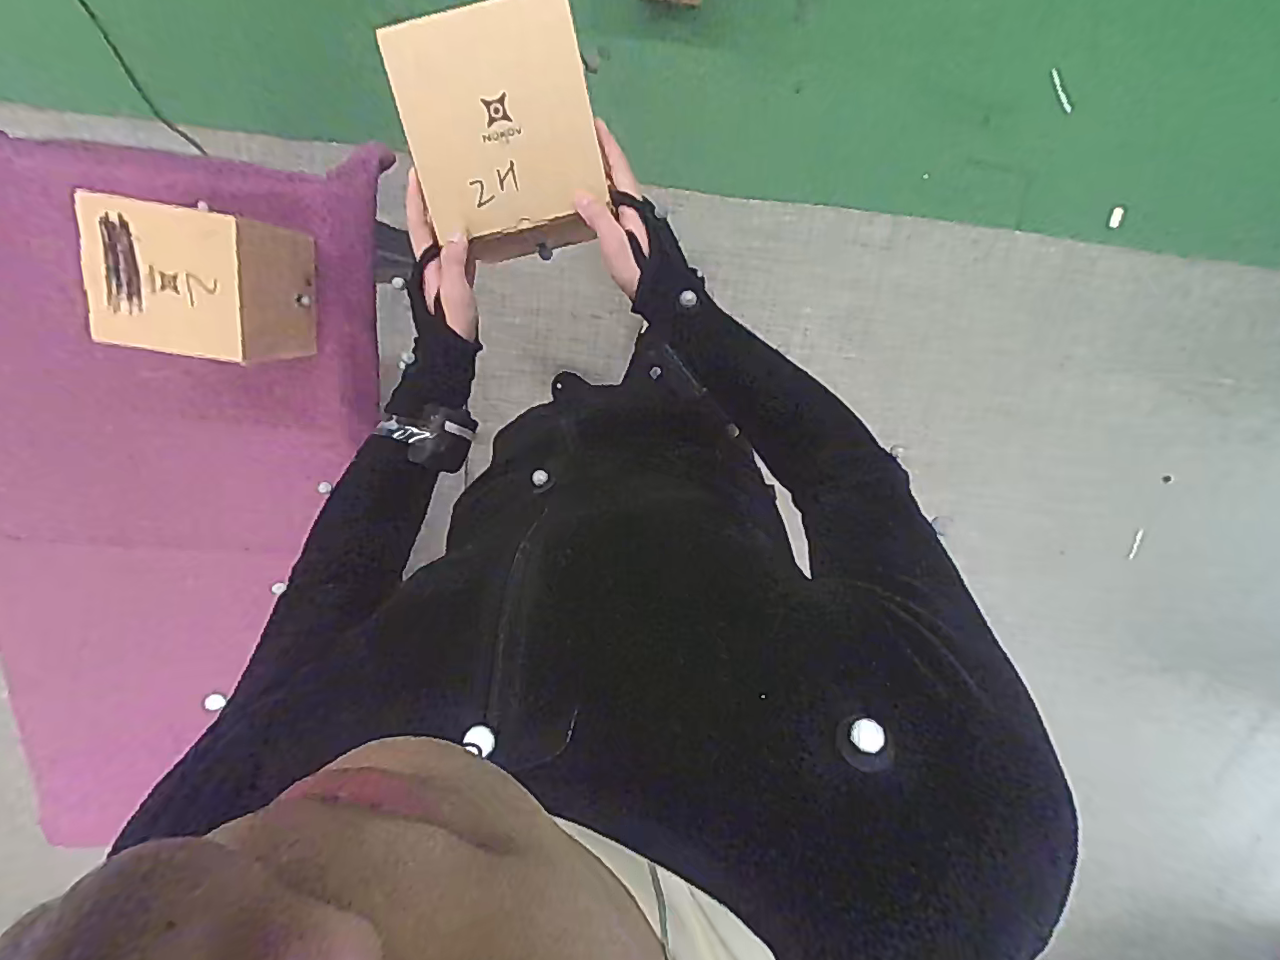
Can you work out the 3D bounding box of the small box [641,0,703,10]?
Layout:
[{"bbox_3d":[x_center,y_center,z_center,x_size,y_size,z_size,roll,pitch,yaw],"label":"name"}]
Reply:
[{"bbox_3d":[0.080,-1.217,1.217,0.168,0.176,0.179,5,107,-3],"label":"small box"}]

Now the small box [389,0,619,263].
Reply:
[{"bbox_3d":[-0.118,-0.333,0.548,0.168,0.176,0.179,-11,107,3],"label":"small box"}]
